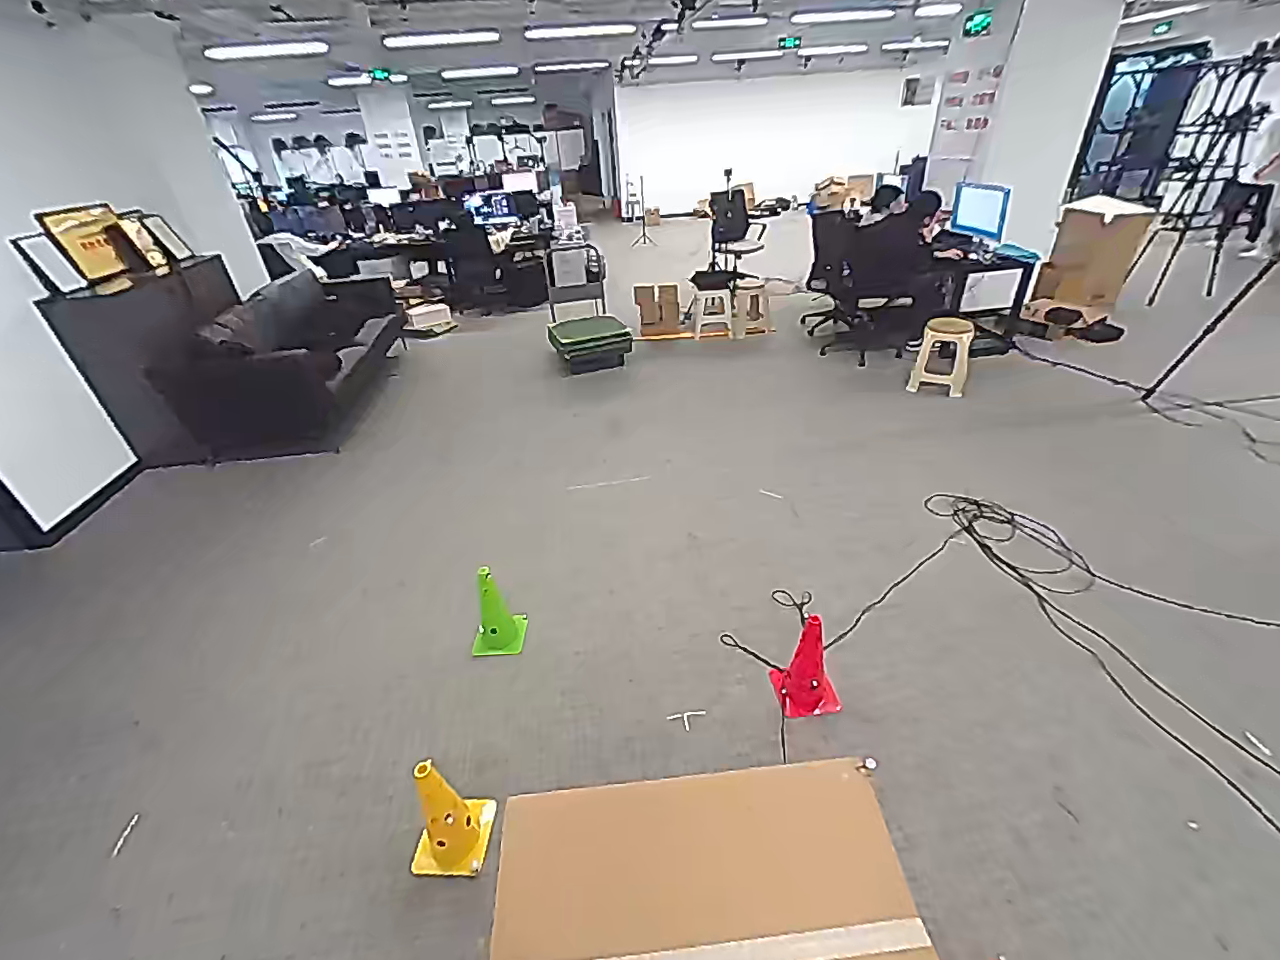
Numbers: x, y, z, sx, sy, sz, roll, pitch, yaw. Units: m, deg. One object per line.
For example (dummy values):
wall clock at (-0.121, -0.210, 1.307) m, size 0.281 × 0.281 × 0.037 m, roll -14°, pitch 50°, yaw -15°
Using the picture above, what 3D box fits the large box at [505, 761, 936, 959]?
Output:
large box at (0.078, 0.557, 0.599) m, size 0.408 × 0.320 × 0.320 m, roll -6°, pitch 43°, yaw -2°

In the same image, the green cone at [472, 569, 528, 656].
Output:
green cone at (-0.579, 0.490, 2.106) m, size 0.200 × 0.368 × 0.202 m, roll -4°, pitch 34°, yaw 1°
